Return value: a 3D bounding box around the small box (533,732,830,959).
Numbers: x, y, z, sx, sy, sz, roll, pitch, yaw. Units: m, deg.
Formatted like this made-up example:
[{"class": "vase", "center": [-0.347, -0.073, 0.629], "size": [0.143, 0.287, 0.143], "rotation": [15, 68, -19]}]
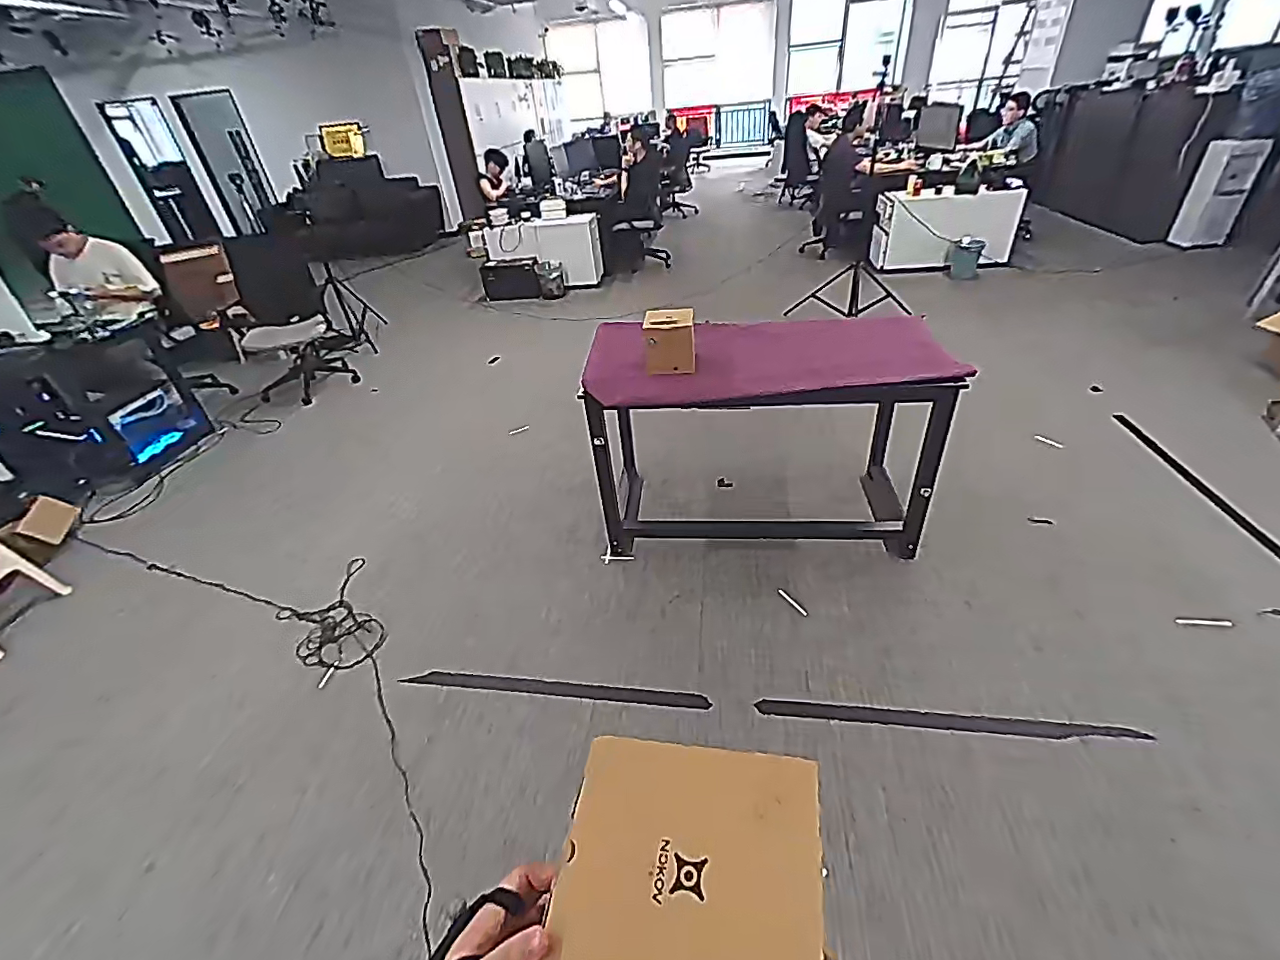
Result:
[{"class": "small box", "center": [0.047, 0.313, 0.399], "size": [0.179, 0.176, 0.168], "rotation": [-3, 40, 18]}]
